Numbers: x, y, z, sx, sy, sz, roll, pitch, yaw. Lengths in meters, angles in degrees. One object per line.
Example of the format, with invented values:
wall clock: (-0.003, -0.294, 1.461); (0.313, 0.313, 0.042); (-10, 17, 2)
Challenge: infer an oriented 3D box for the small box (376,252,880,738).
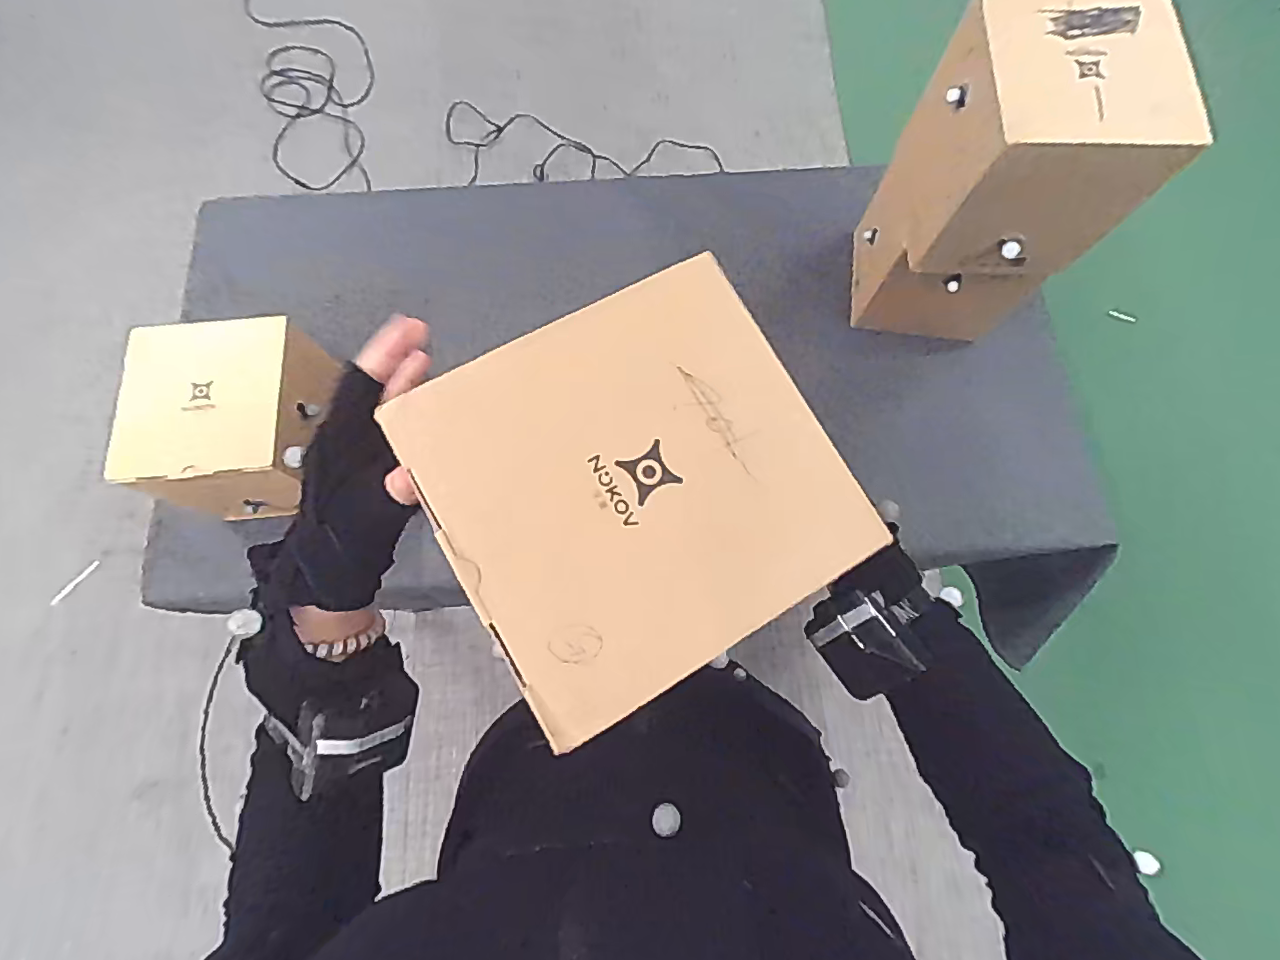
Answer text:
small box: (-0.011, 0.013, 0.318); (0.179, 0.176, 0.168); (-30, 83, -13)

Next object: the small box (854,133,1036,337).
small box: (0.391, -0.302, 0.694); (0.179, 0.176, 0.168); (8, 75, 3)

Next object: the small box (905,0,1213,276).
small box: (0.380, -0.330, 0.532); (0.168, 0.176, 0.179); (2, 75, 2)

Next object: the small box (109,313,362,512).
small box: (-0.447, -0.070, 0.633); (0.168, 0.176, 0.179); (-5, 74, -2)
